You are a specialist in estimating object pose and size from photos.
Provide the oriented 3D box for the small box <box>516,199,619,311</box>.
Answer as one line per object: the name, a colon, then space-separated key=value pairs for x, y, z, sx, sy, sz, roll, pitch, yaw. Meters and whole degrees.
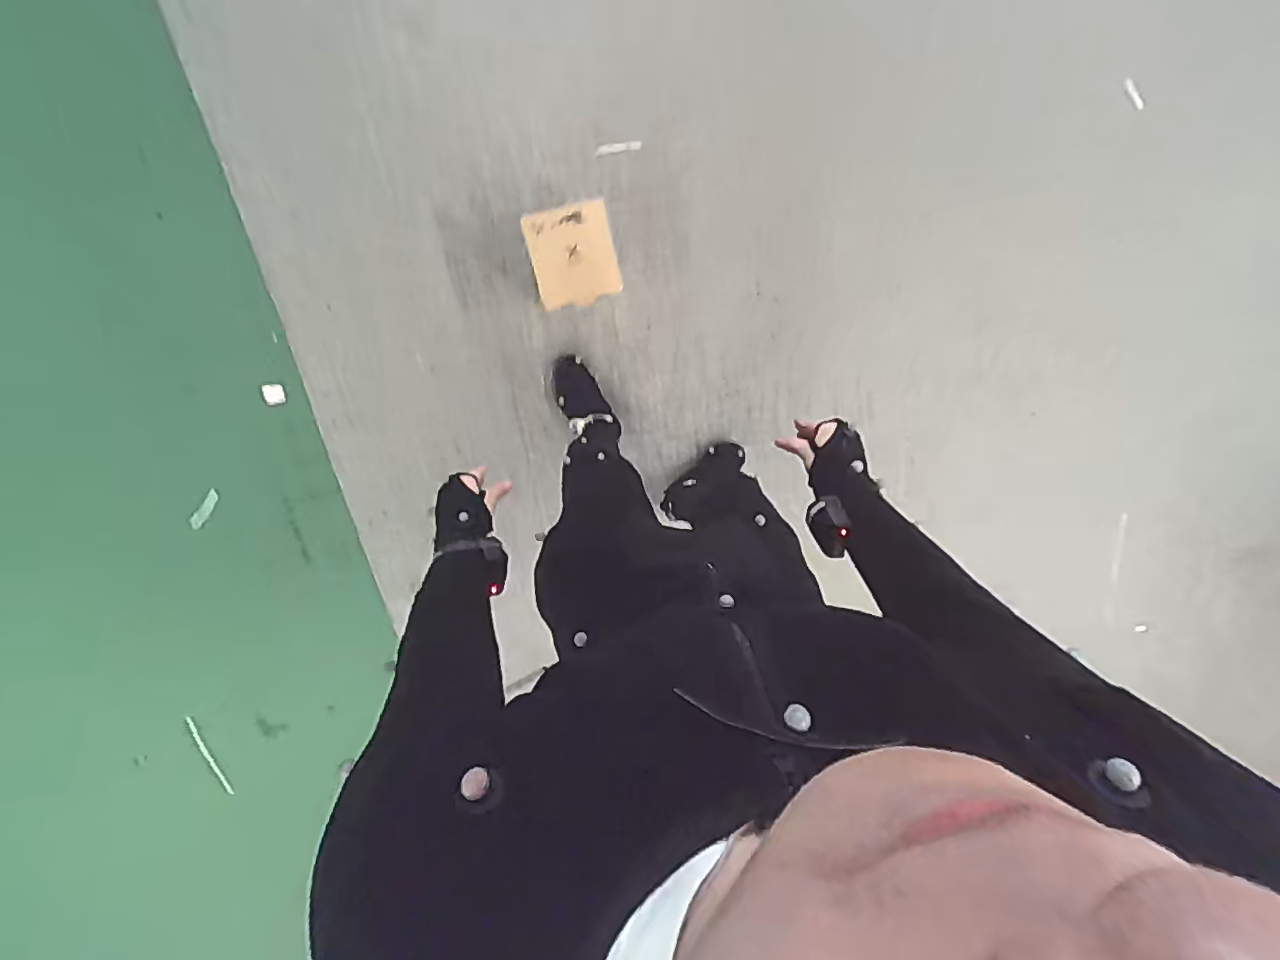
small box: x=-0.150 y=-0.465 z=1.126 sx=0.168 sy=0.176 sz=0.179 roll=-16 pitch=112 yaw=-5
